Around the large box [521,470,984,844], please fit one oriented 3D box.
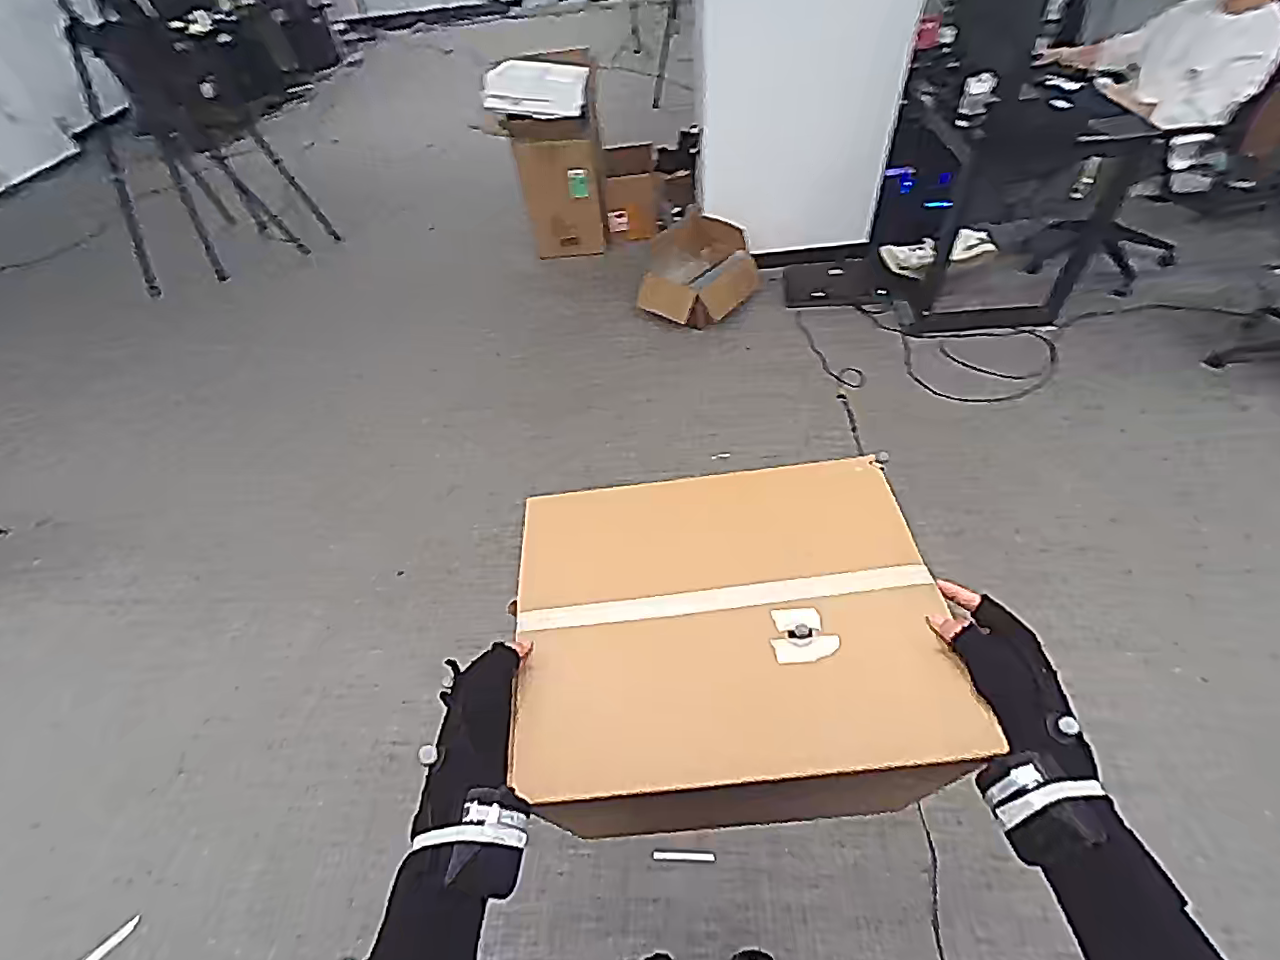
[{"bbox_3d":[0.093,0.225,0.661,0.408,0.320,0.320,-7,52,2],"label":"large box"}]
